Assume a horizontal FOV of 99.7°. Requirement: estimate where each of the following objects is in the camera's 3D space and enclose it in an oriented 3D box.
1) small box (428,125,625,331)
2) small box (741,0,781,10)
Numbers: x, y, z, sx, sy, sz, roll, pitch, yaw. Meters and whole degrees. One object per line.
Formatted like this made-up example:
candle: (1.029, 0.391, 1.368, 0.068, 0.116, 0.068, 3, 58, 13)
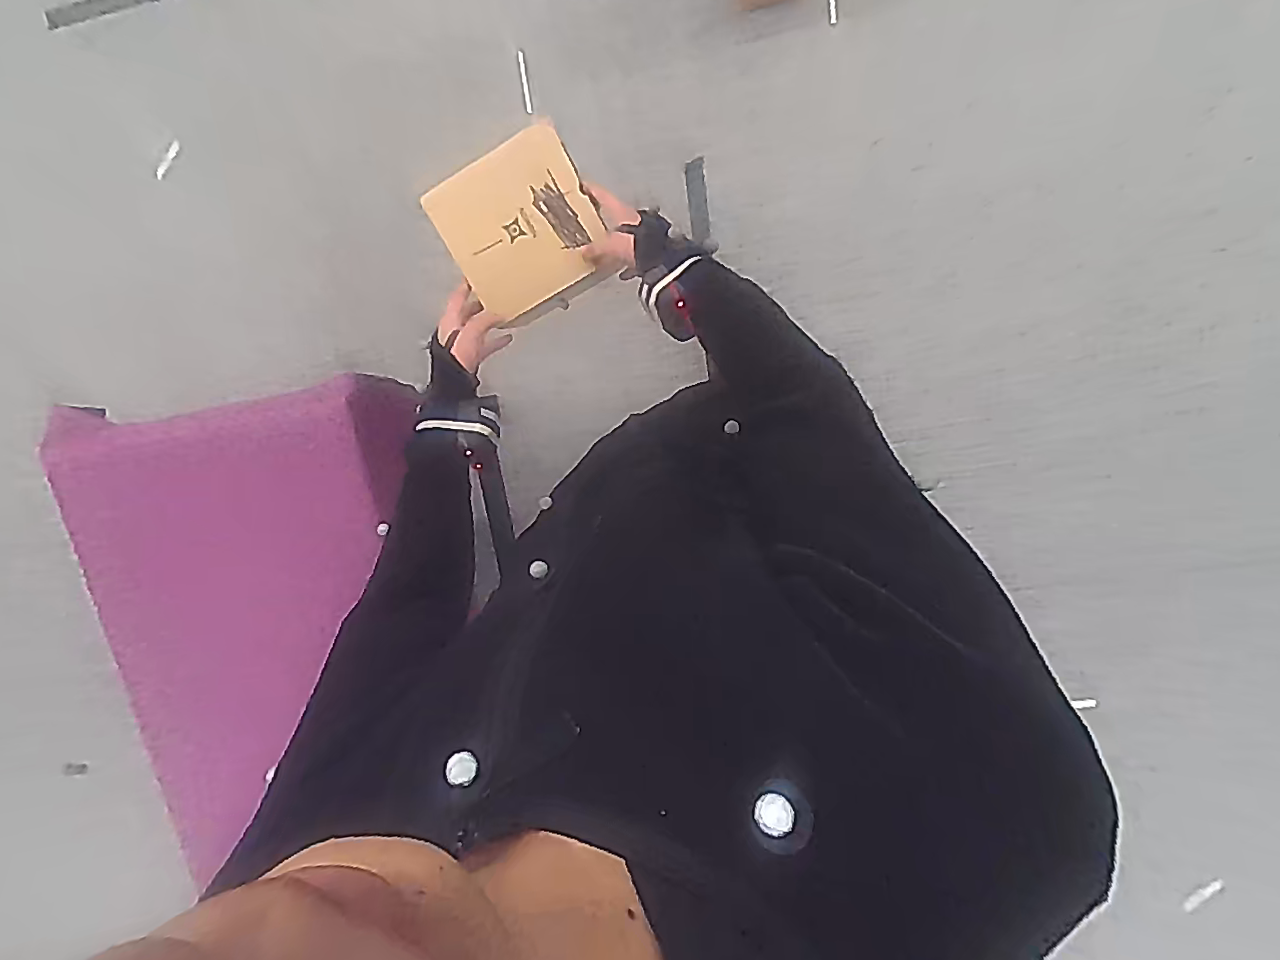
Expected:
small box: (-0.131, -0.311, 0.701, 0.179, 0.176, 0.168, -27, 105, 9)
small box: (0.310, -1.263, 1.258, 0.168, 0.176, 0.179, -11, 100, 8)
